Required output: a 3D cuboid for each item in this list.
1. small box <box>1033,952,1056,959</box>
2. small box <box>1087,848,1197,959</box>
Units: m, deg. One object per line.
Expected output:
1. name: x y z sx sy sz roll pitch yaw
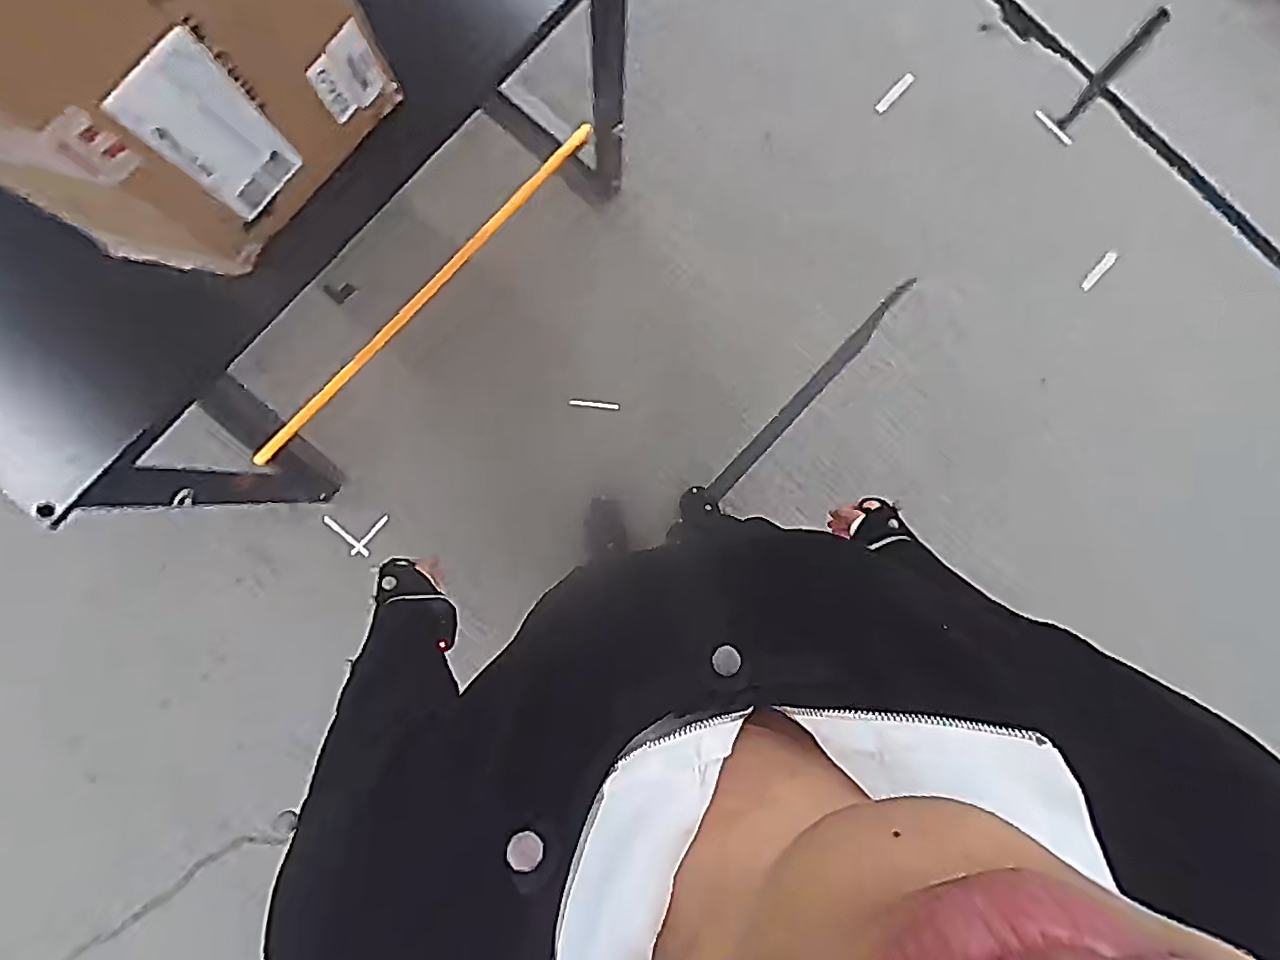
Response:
1. small box: 1.083 1.358 1.362 0.179 0.176 0.168 39 87 -2
2. small box: 1.315 1.099 1.379 0.179 0.176 0.168 42 87 -2
